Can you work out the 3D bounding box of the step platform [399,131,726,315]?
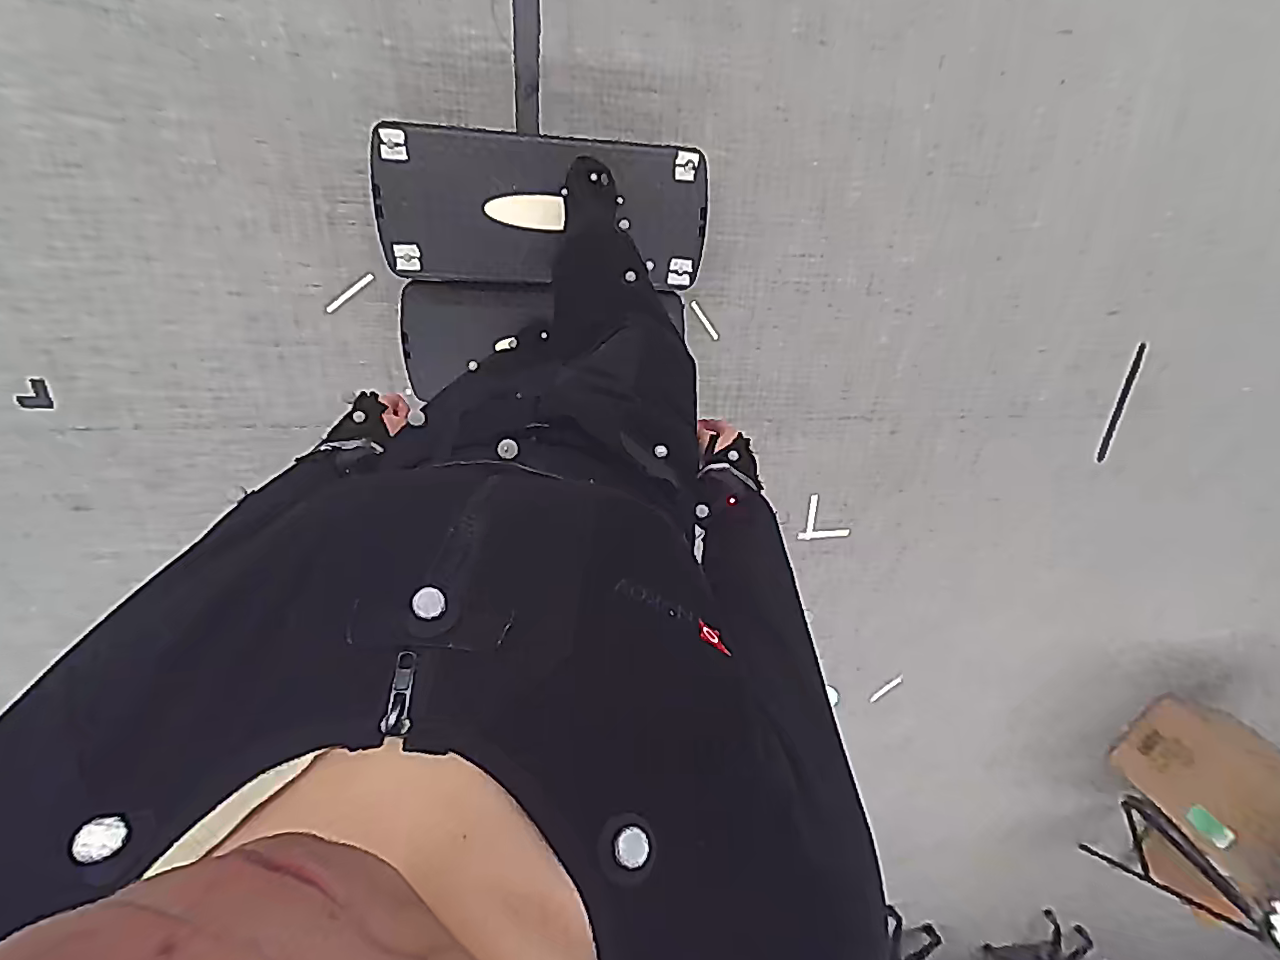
[{"bbox_3d":[-0.159,-0.547,1.193,0.684,0.204,0.286,3,111,-12],"label":"step platform"}]
